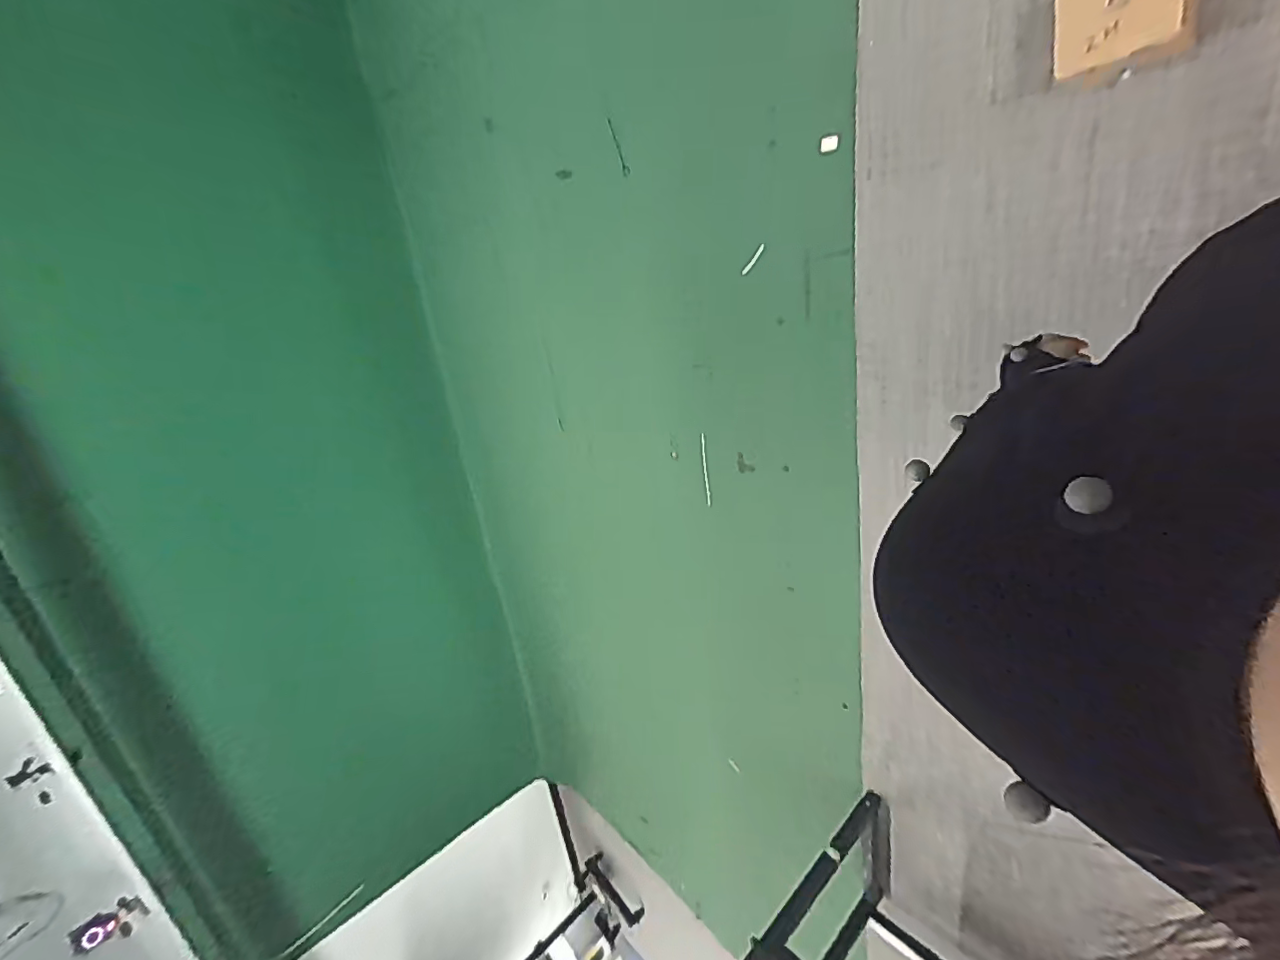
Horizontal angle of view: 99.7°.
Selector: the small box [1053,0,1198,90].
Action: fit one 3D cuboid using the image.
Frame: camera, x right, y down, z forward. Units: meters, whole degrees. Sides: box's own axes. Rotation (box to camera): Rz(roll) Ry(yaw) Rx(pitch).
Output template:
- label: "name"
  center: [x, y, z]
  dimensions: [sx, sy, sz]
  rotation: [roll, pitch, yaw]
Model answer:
- label: "small box"
  center: [0.835, -0.810, 0.928]
  dimensions: [0.168, 0.176, 0.179]
  rotation: [8, 115, 49]
